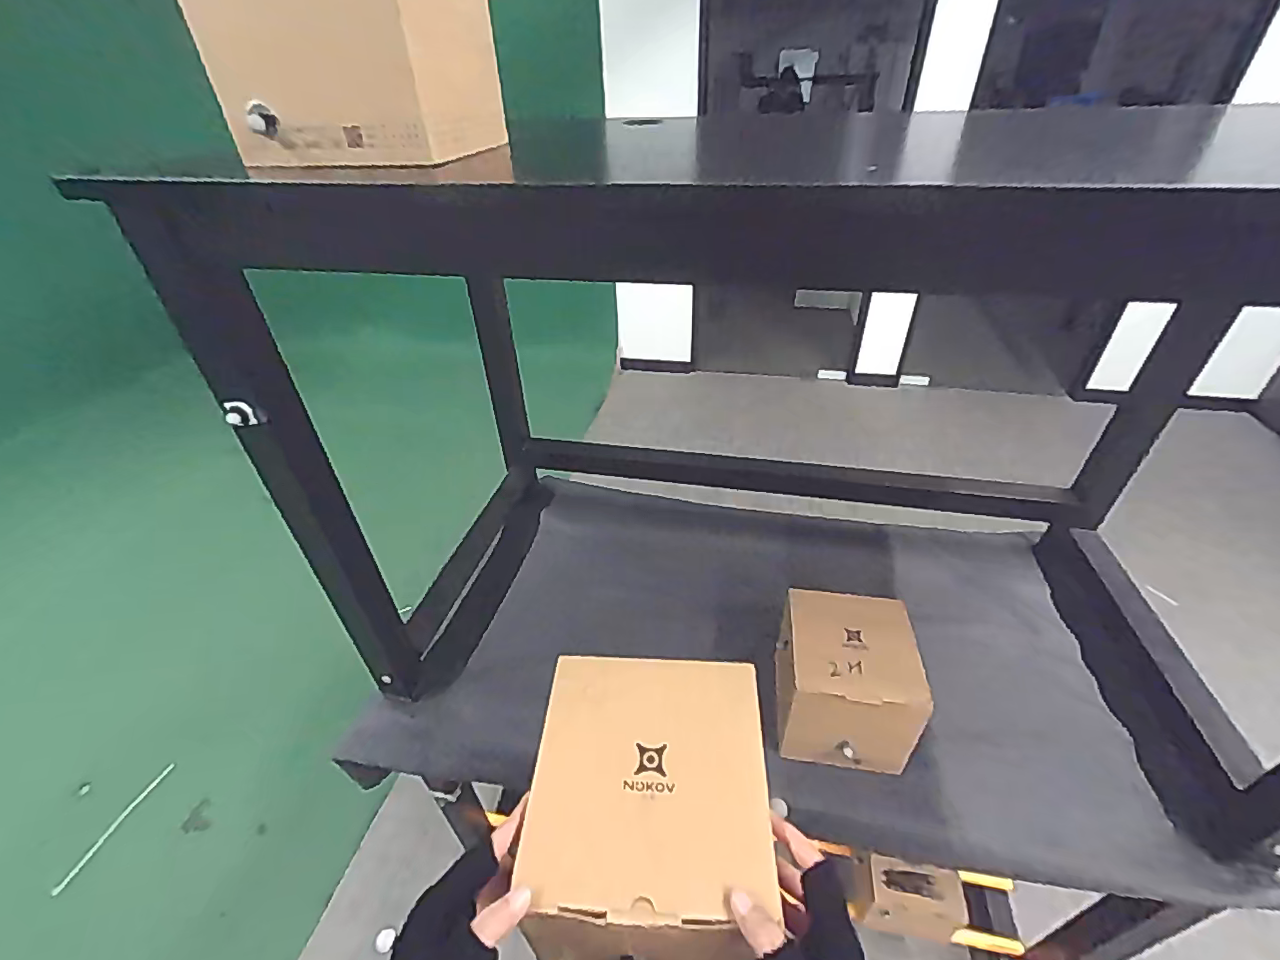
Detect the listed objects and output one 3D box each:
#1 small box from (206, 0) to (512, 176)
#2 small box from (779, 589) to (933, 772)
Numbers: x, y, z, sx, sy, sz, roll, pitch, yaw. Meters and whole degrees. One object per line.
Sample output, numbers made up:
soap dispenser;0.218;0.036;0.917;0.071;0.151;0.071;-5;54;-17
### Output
small box;-0.220;-0.361;0.458;0.168;0.176;0.179;4;36;7
small box;0.296;0.287;0.786;0.168;0.176;0.179;4;36;9
